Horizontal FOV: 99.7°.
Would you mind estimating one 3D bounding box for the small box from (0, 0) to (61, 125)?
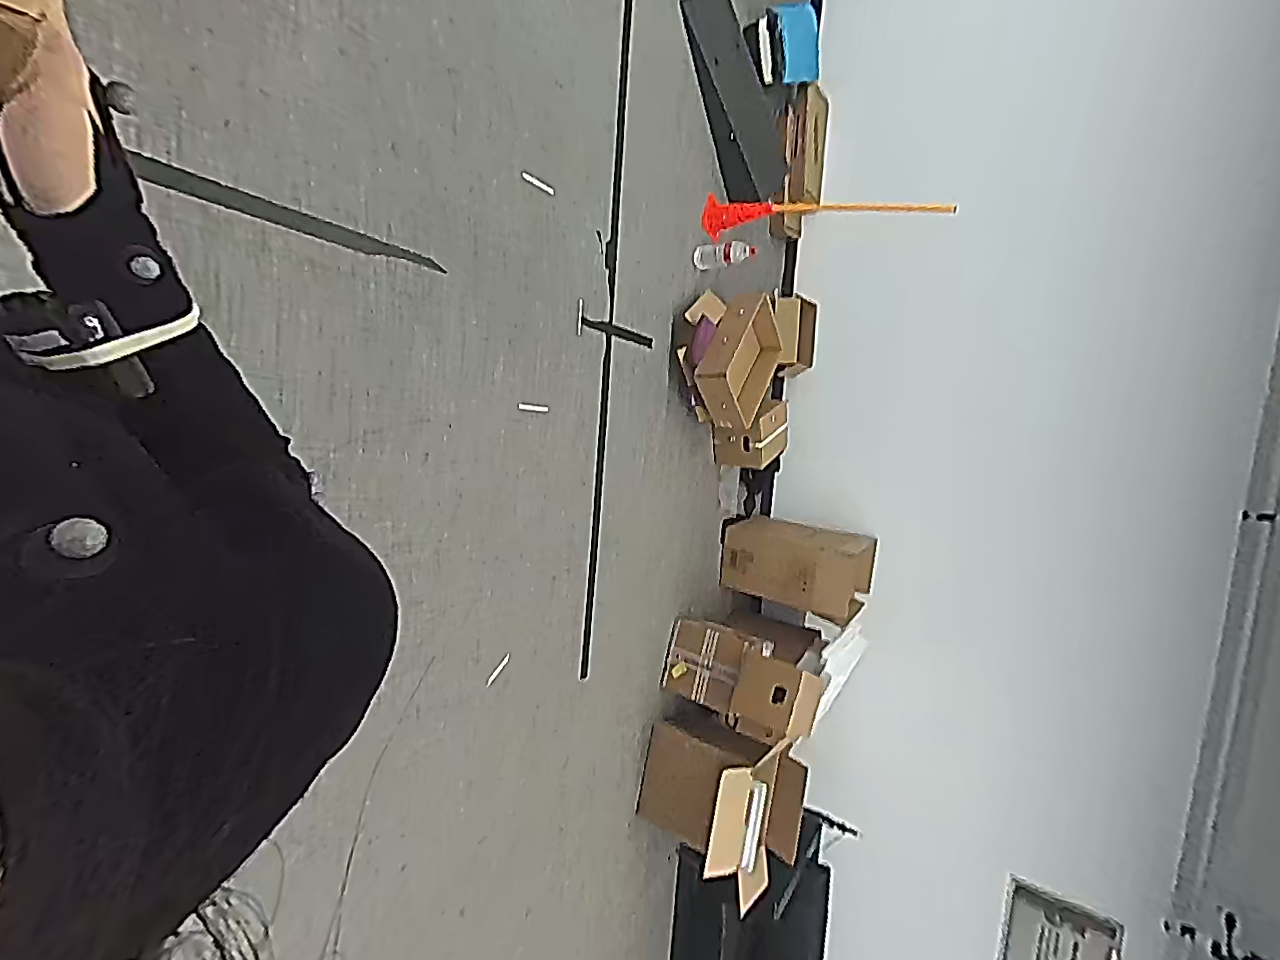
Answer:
[{"bbox_3d":[-0.321,-0.247,0.169,0.168,0.176,0.179,-10,105,-54],"label":"small box"}]
